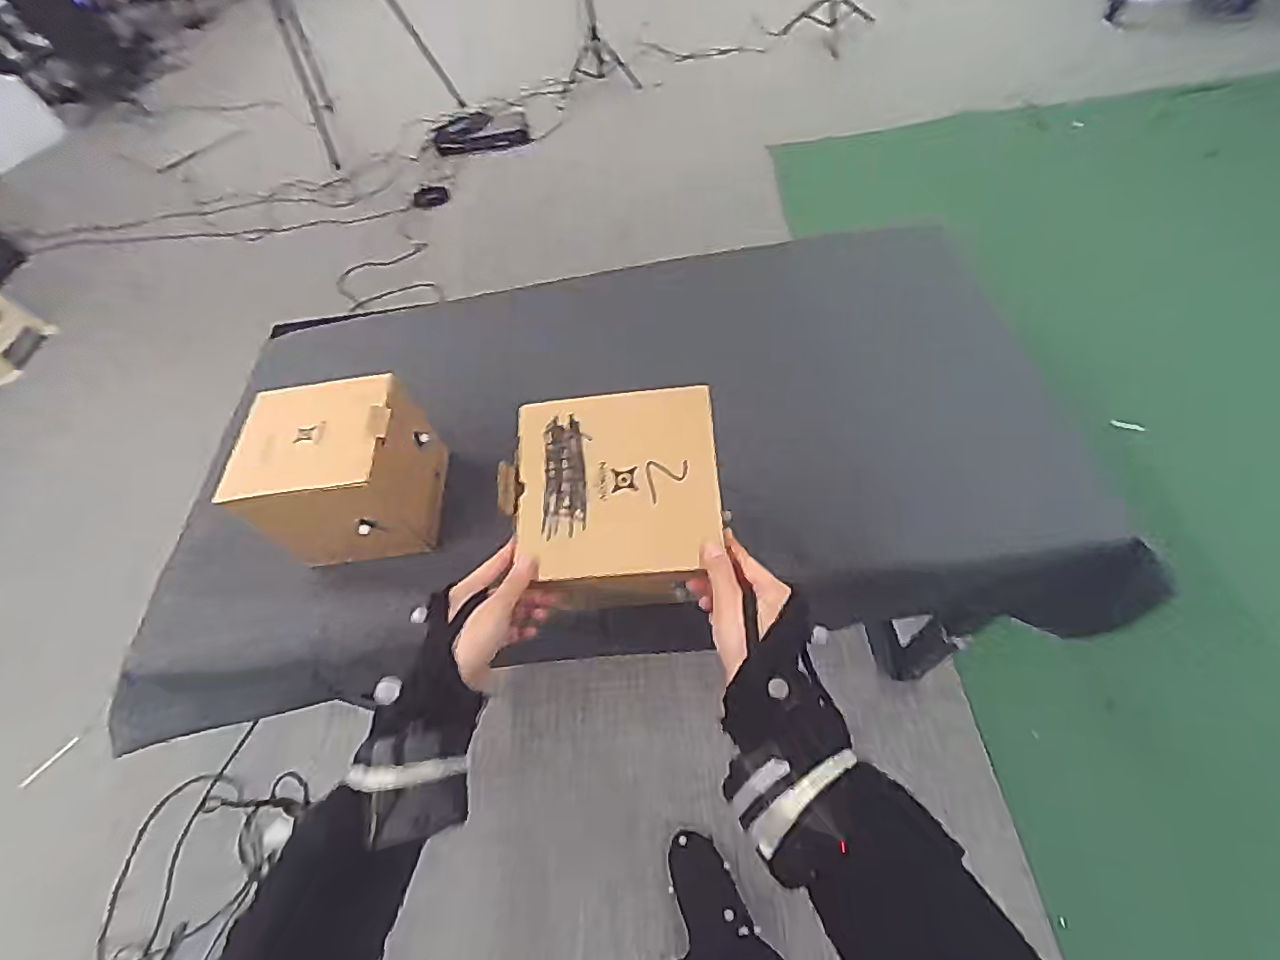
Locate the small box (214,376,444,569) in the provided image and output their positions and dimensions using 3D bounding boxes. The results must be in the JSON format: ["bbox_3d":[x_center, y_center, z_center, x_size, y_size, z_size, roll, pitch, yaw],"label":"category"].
[{"bbox_3d":[-0.367,-0.003,0.682,0.179,0.176,0.168,-9,55,3],"label":"small box"}]
